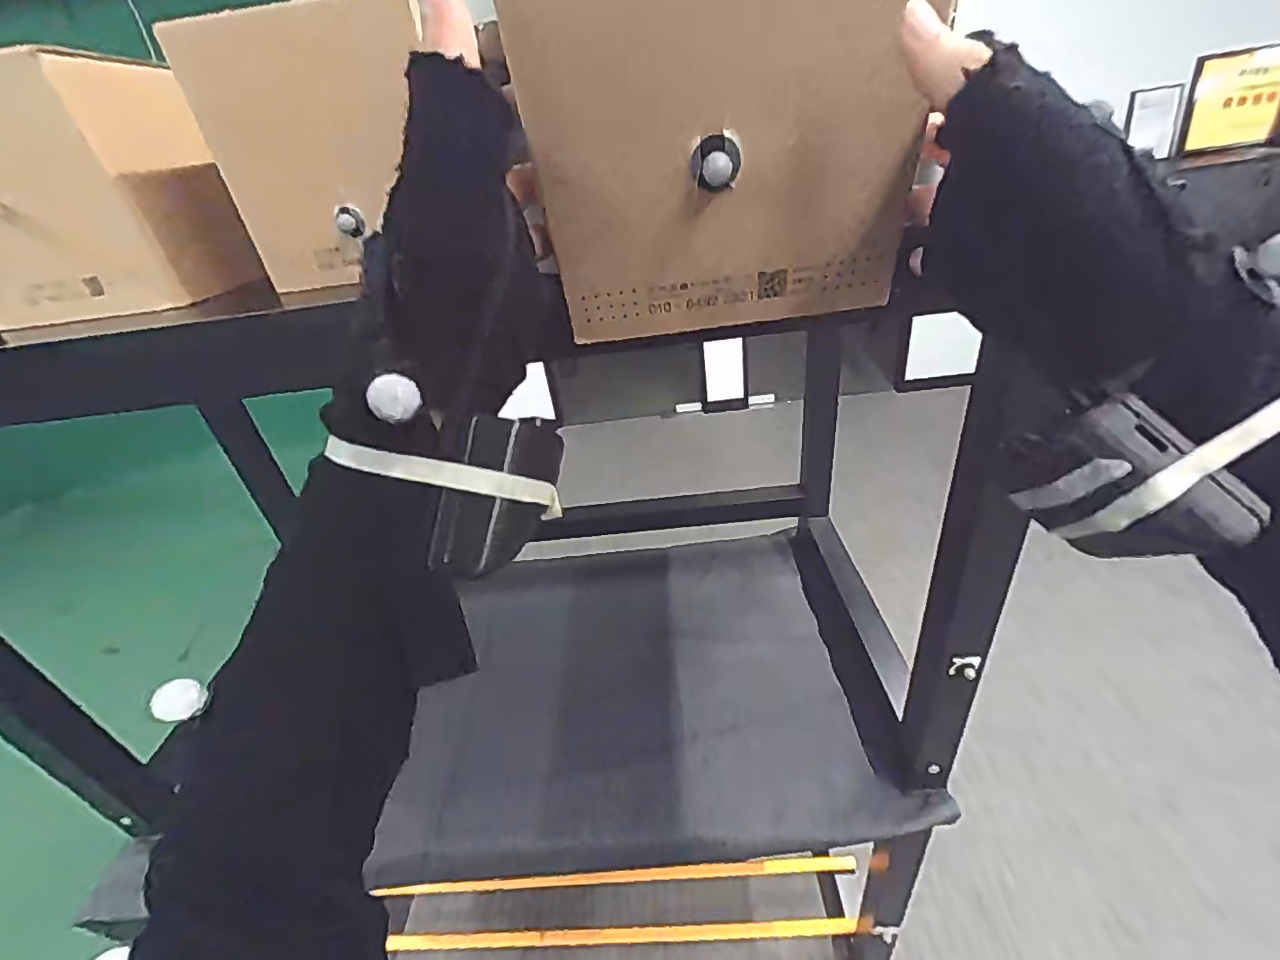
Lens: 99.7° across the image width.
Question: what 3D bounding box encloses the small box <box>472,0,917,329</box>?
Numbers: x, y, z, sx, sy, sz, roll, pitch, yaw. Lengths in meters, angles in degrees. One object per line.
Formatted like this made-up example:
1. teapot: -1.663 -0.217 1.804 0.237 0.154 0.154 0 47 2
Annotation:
1. small box: 0.029 -0.194 0.288 0.168 0.176 0.179 -6 47 4

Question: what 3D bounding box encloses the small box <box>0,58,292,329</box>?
1. small box: -0.450 -0.237 0.468 0.168 0.176 0.179 -6 32 5
